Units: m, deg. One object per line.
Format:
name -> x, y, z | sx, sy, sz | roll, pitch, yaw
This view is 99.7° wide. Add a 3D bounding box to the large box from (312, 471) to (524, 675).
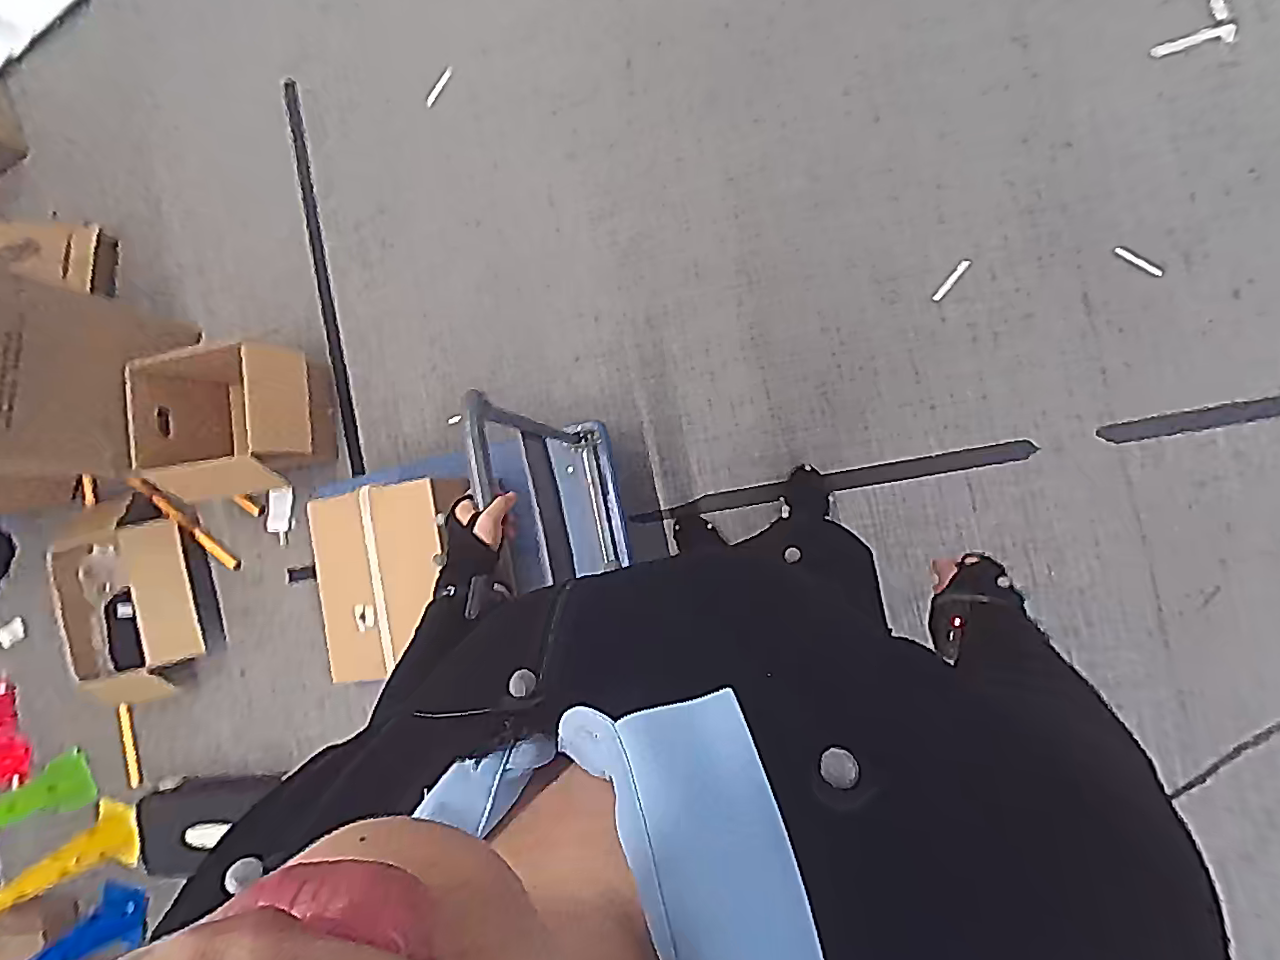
large box -> -0.512, 0.202, 1.305 | 0.320, 0.320, 0.408 | -11, 89, 13
